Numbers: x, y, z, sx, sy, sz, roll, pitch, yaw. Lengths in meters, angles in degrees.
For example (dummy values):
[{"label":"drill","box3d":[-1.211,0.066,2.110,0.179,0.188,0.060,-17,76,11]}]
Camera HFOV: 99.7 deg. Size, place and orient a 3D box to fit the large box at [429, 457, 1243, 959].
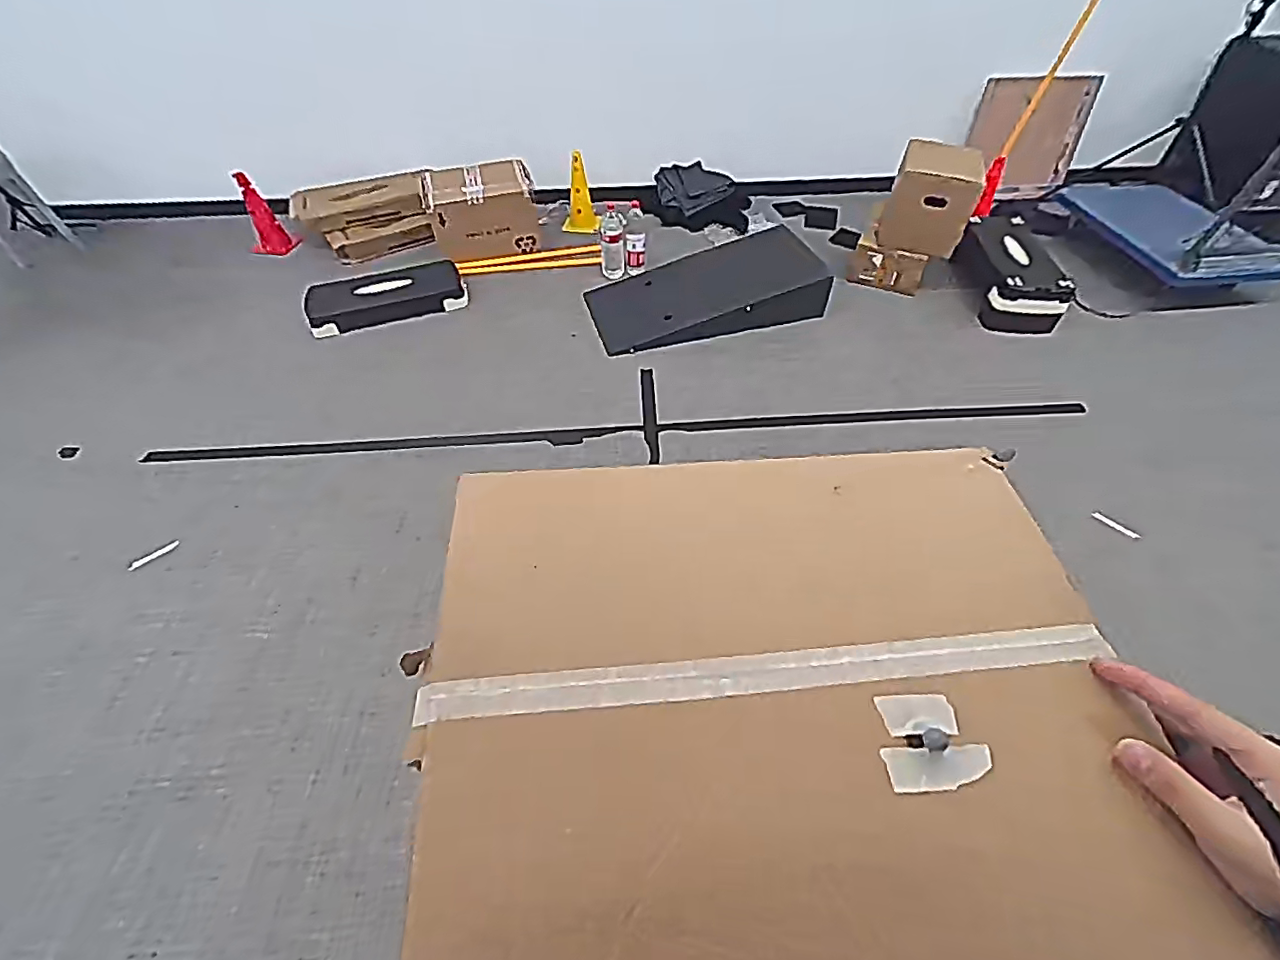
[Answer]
[{"label":"large box","box3d":[0.078,0.204,0.451,0.408,0.320,0.320,-3,55,-6]}]
